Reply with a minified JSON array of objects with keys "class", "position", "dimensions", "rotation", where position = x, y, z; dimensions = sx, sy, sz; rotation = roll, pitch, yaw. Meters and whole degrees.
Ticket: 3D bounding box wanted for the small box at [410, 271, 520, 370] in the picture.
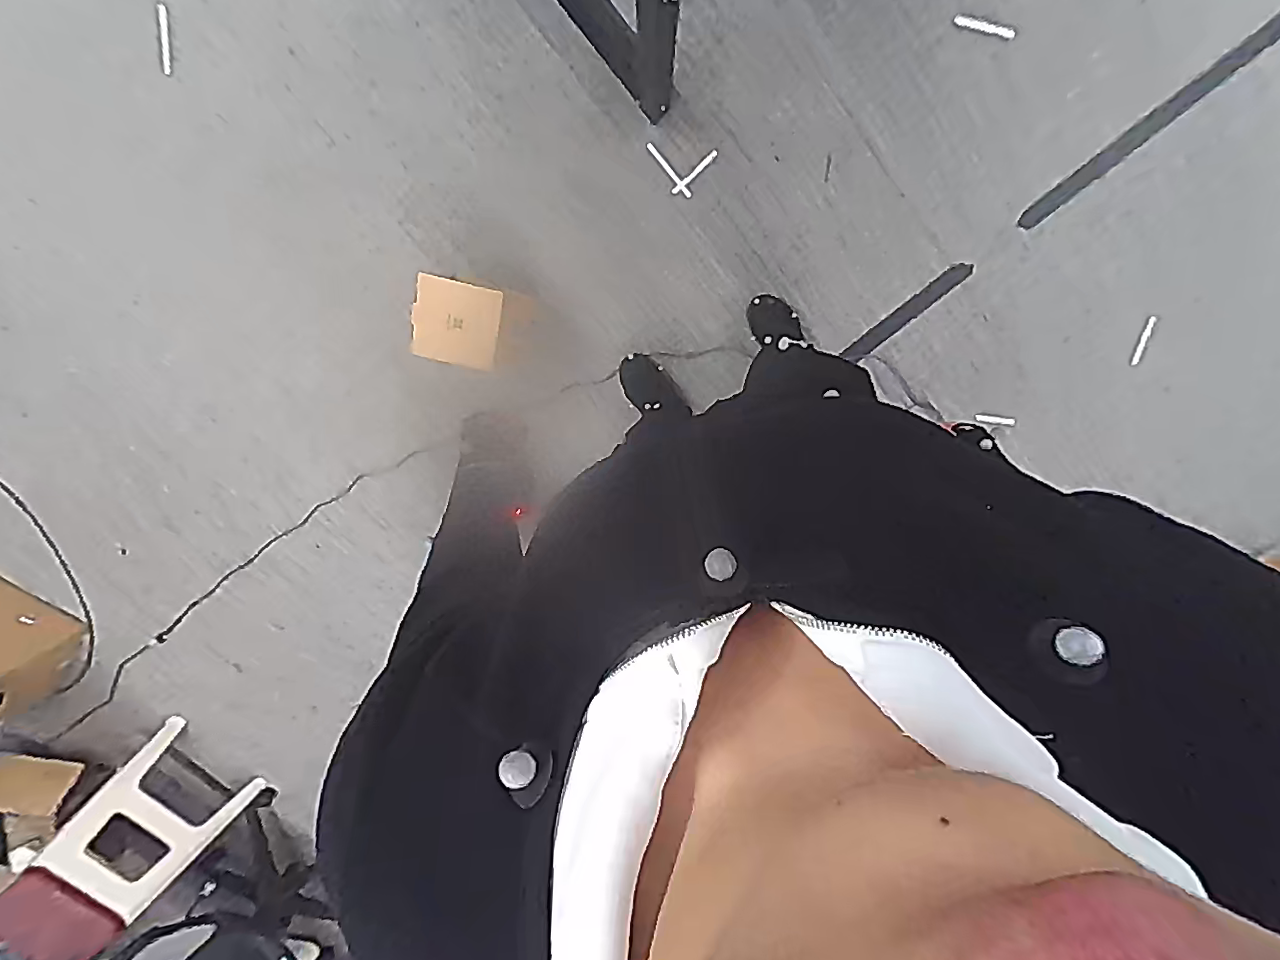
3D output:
[{"class":"small box","position":[-0.376,-0.347,1.180],"dimensions":[0.179,0.176,0.168],"rotation":[12,108,-4]}]
